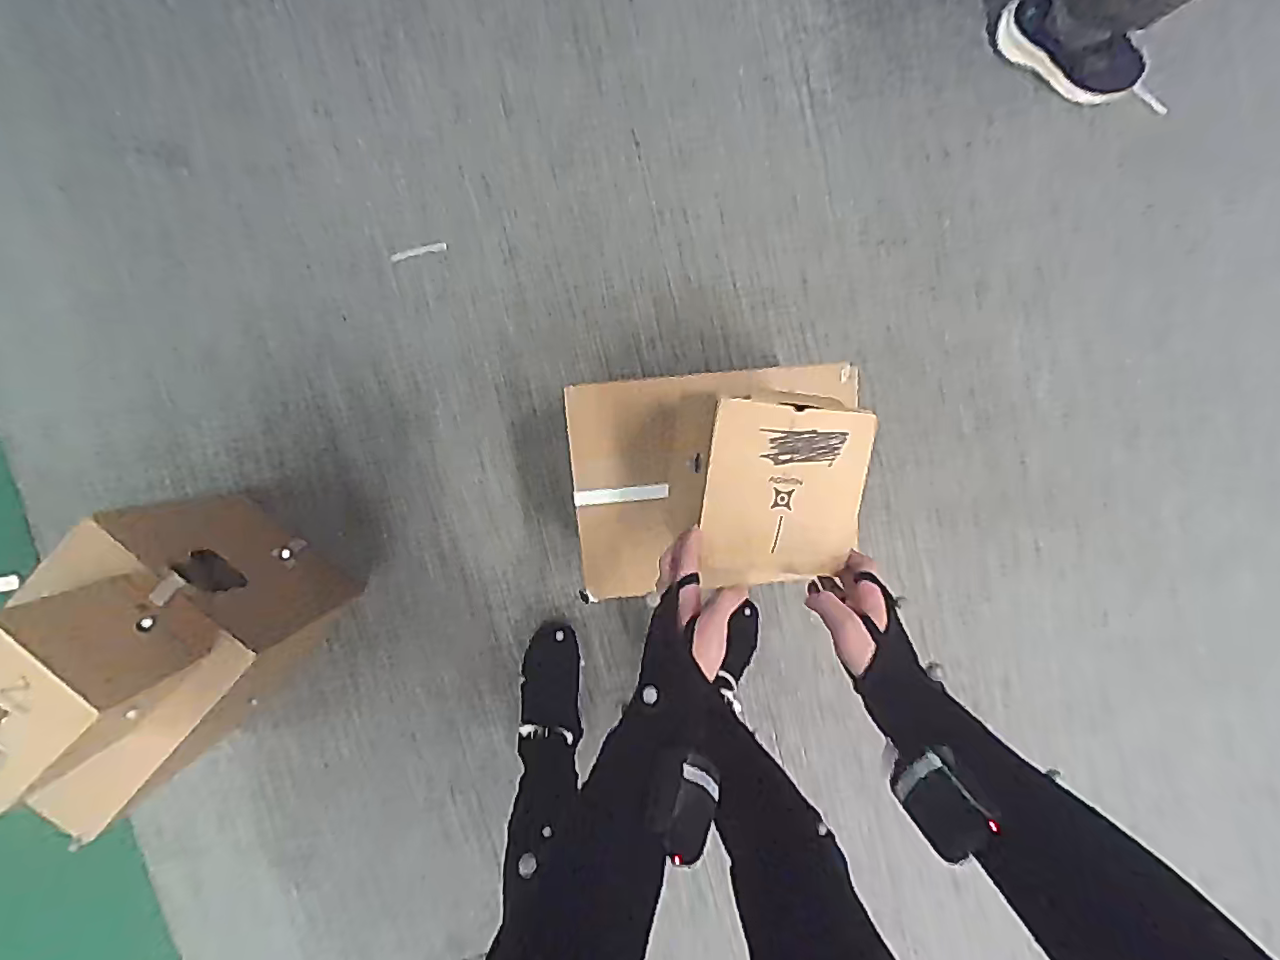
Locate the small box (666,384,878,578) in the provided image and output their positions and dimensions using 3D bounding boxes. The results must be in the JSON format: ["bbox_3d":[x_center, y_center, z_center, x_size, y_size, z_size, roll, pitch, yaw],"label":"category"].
[{"bbox_3d":[0.133,-0.008,0.617,0.168,0.176,0.179,7,105,-10],"label":"small box"}]

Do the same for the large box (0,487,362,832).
[{"bbox_3d":[-0.790,0.271,0.937,0.320,0.320,0.408,43,95,-4],"label":"large box"}]
